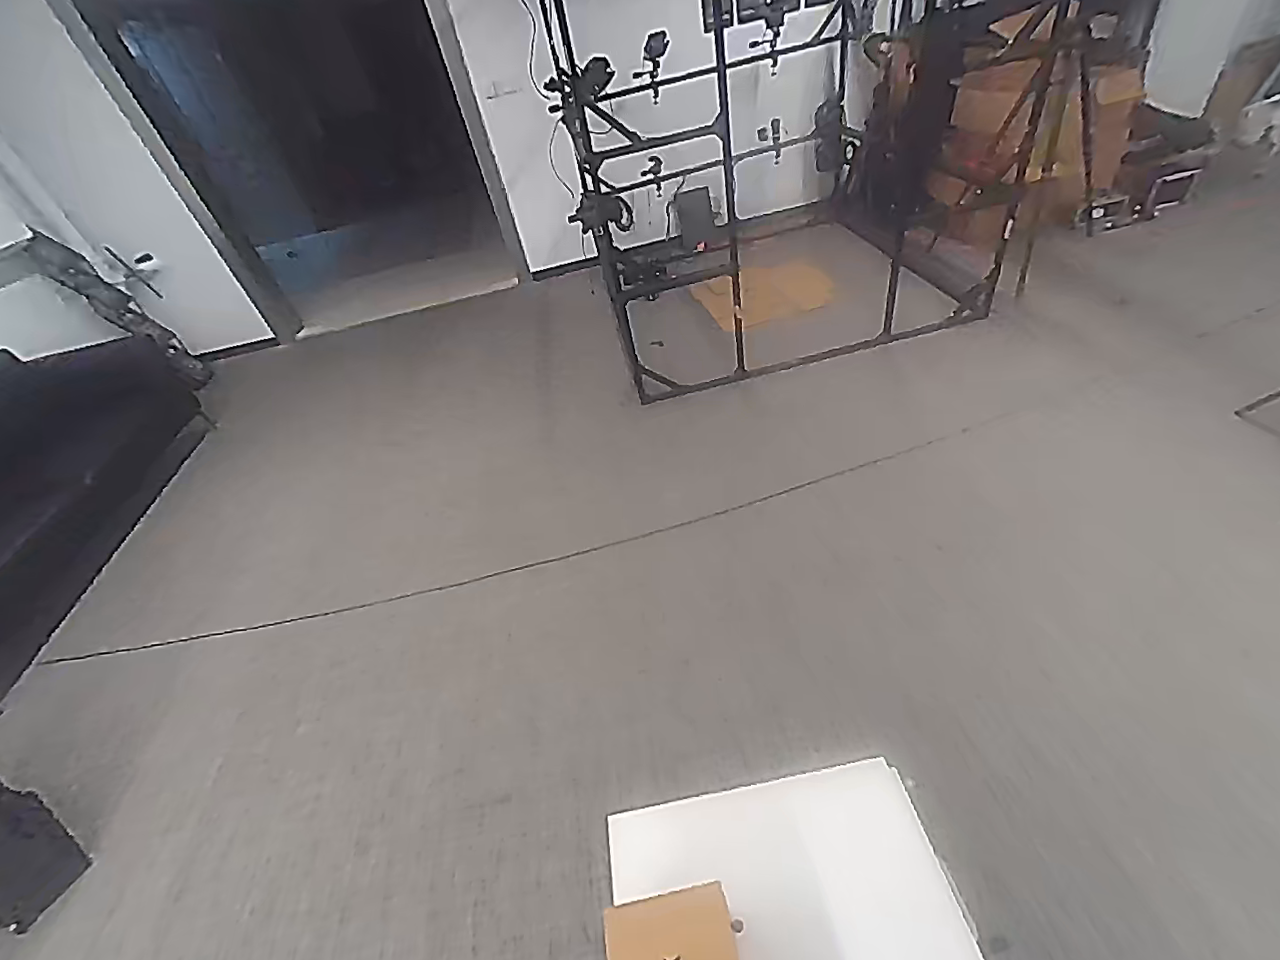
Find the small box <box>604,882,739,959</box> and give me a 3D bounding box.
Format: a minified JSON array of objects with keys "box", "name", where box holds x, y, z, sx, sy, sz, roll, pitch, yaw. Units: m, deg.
[{"box":[0.053,0.679,0.723,0.168,0.176,0.179,-14,40,1],"name":"small box"}]
